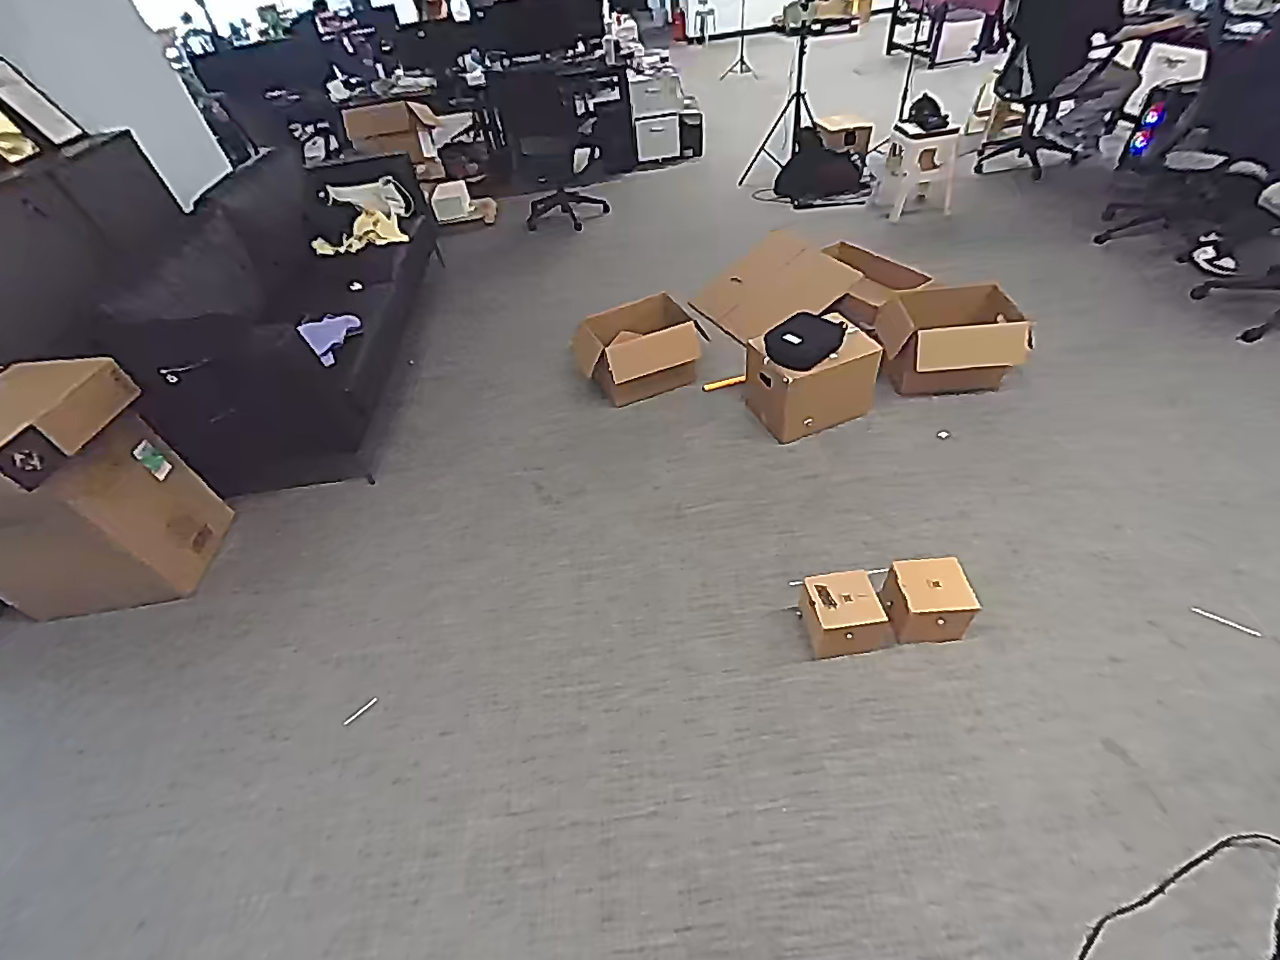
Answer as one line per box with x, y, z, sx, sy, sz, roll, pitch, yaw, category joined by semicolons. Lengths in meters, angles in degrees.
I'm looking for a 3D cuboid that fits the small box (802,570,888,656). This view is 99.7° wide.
0.563;0.376;1.512;0.179;0.176;0.168;-8;45;1;small box

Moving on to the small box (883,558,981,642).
0.805;0.337;1.510;0.179;0.176;0.168;-6;46;6;small box
